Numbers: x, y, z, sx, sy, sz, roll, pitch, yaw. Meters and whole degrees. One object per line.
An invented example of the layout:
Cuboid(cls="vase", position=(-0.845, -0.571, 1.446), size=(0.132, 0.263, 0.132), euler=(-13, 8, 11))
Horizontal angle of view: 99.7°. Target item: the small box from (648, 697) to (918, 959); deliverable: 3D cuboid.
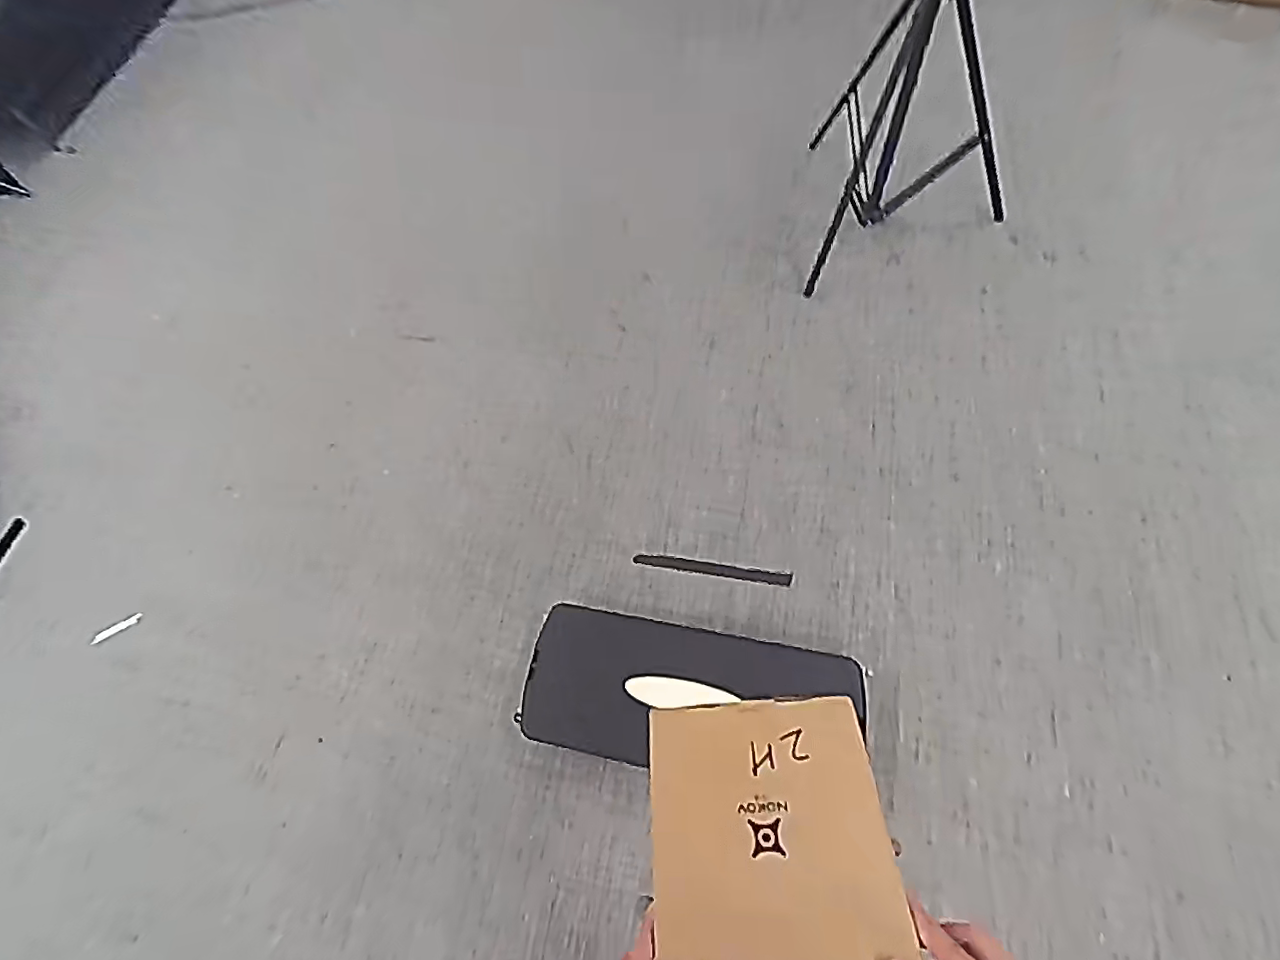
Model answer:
Cuboid(cls="small box", position=(0.098, 0.297, 0.437), size=(0.168, 0.176, 0.179), euler=(-6, 46, 5))
